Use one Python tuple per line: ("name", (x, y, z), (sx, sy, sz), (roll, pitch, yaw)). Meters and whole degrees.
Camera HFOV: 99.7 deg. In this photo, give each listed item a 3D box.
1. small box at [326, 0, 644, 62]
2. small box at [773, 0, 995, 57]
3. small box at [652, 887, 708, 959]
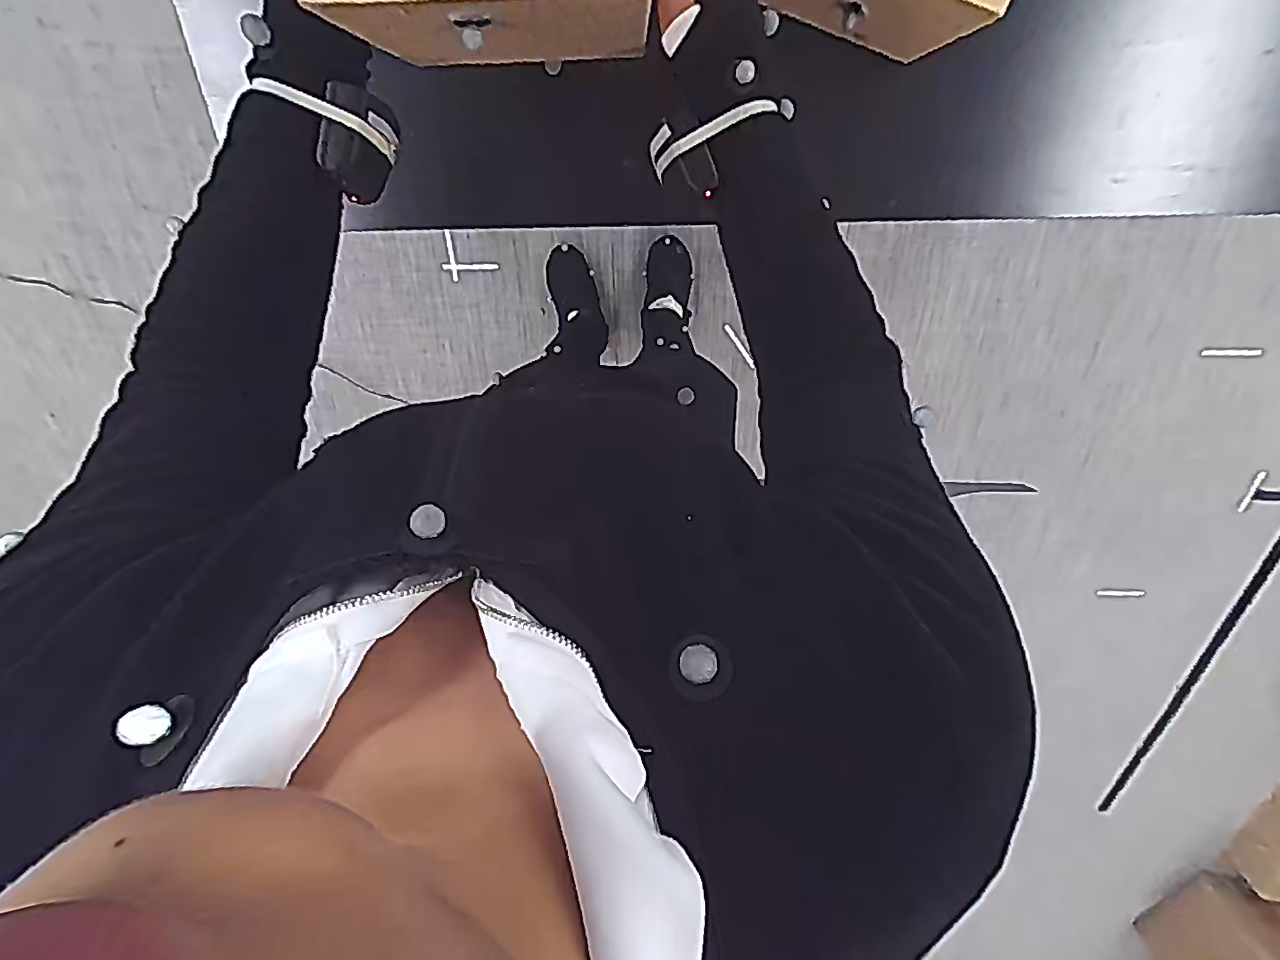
("small box", (-0.086, -0.353, 0.305), (0.179, 0.176, 0.168), (-2, 119, 0))
("small box", (0.209, -0.475, 0.425), (0.168, 0.176, 0.179), (16, 117, -9))
("small box", (0.127, 1.458, 1.747), (0.168, 0.176, 0.179), (-2, 114, -1))
